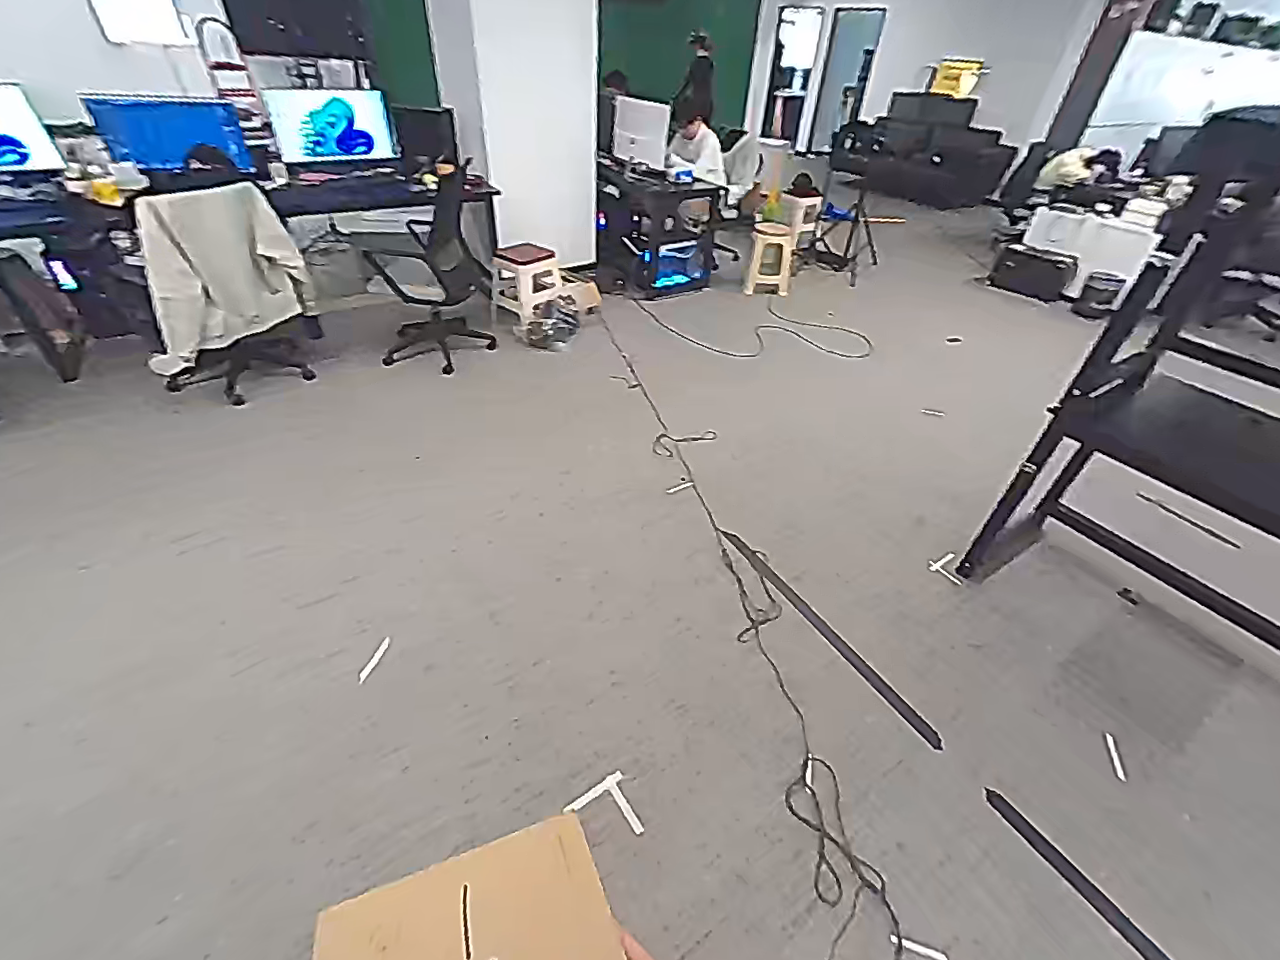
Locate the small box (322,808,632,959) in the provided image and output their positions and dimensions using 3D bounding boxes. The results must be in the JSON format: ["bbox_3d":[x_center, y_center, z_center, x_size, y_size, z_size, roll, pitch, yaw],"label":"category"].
[{"bbox_3d":[-0.083,0.353,0.321,0.168,0.176,0.179,-10,28,-21],"label":"small box"}]
